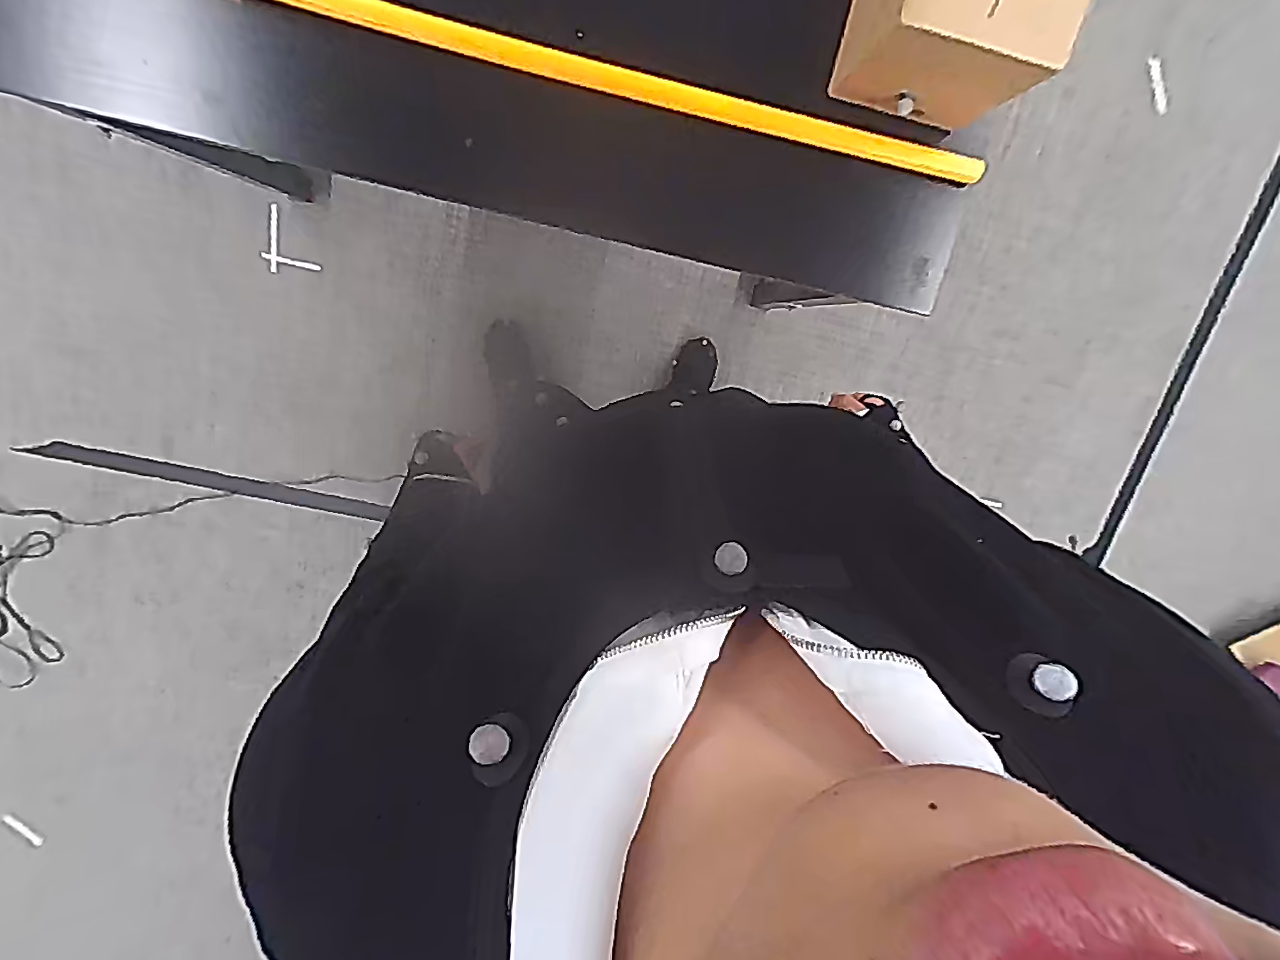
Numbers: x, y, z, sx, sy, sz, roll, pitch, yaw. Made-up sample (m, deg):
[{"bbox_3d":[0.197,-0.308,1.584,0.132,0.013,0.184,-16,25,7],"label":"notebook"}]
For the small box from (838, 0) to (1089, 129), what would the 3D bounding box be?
[{"bbox_3d":[0.326,-0.496,0.545,0.168,0.176,0.179,12,106,-6],"label":"small box"}]
